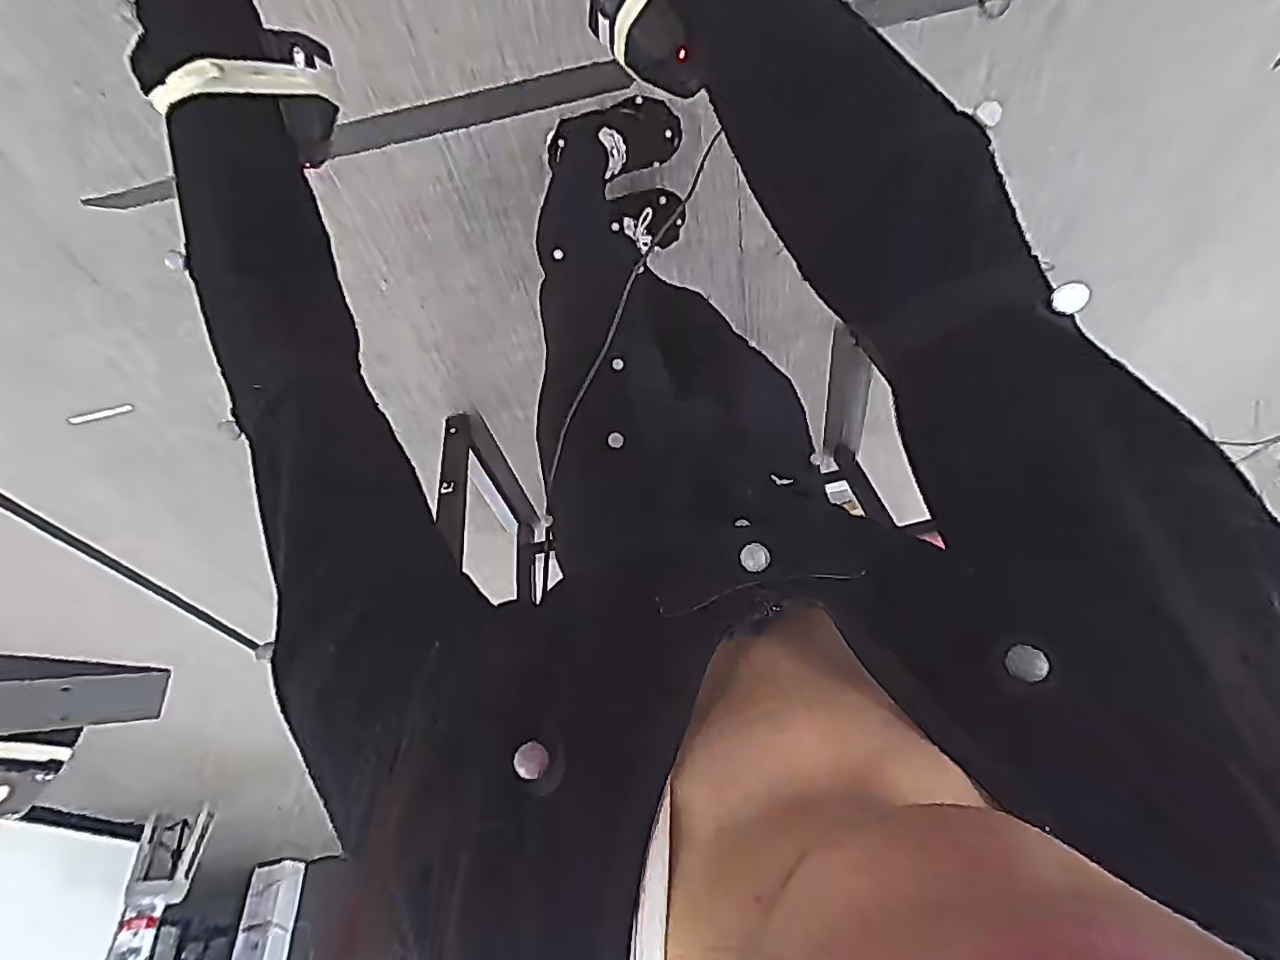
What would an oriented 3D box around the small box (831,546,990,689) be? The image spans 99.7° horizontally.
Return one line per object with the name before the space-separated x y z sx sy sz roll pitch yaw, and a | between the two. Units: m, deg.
small box | 0.457 0.240 0.952 0.179 0.176 0.168 -11 138 -2
